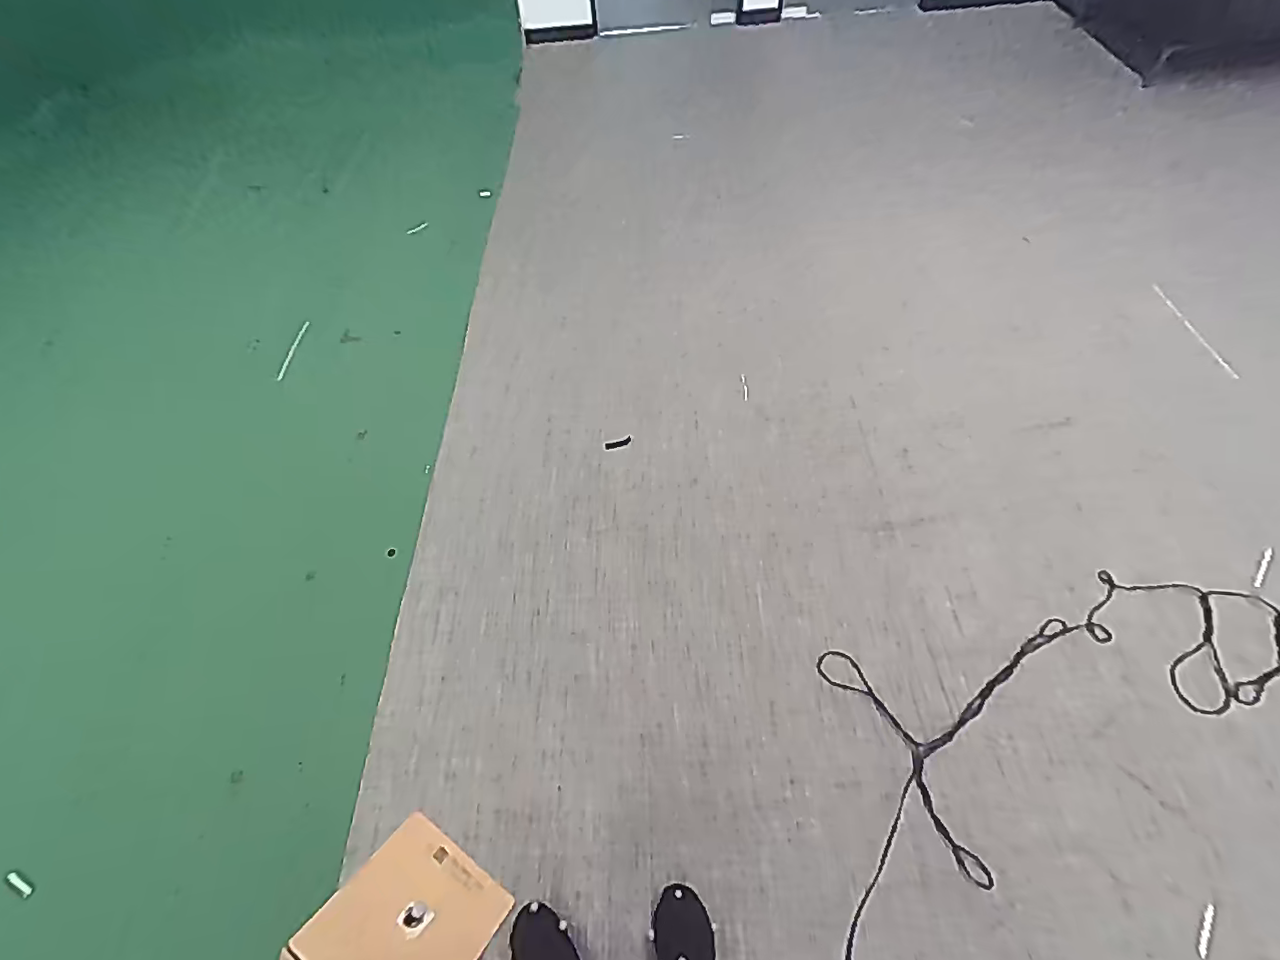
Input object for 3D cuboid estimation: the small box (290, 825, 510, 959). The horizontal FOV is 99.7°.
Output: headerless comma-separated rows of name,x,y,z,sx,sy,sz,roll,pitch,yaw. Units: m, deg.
small box,-0.276,0.551,0.623,0.168,0.179,0.176,33,28,14
